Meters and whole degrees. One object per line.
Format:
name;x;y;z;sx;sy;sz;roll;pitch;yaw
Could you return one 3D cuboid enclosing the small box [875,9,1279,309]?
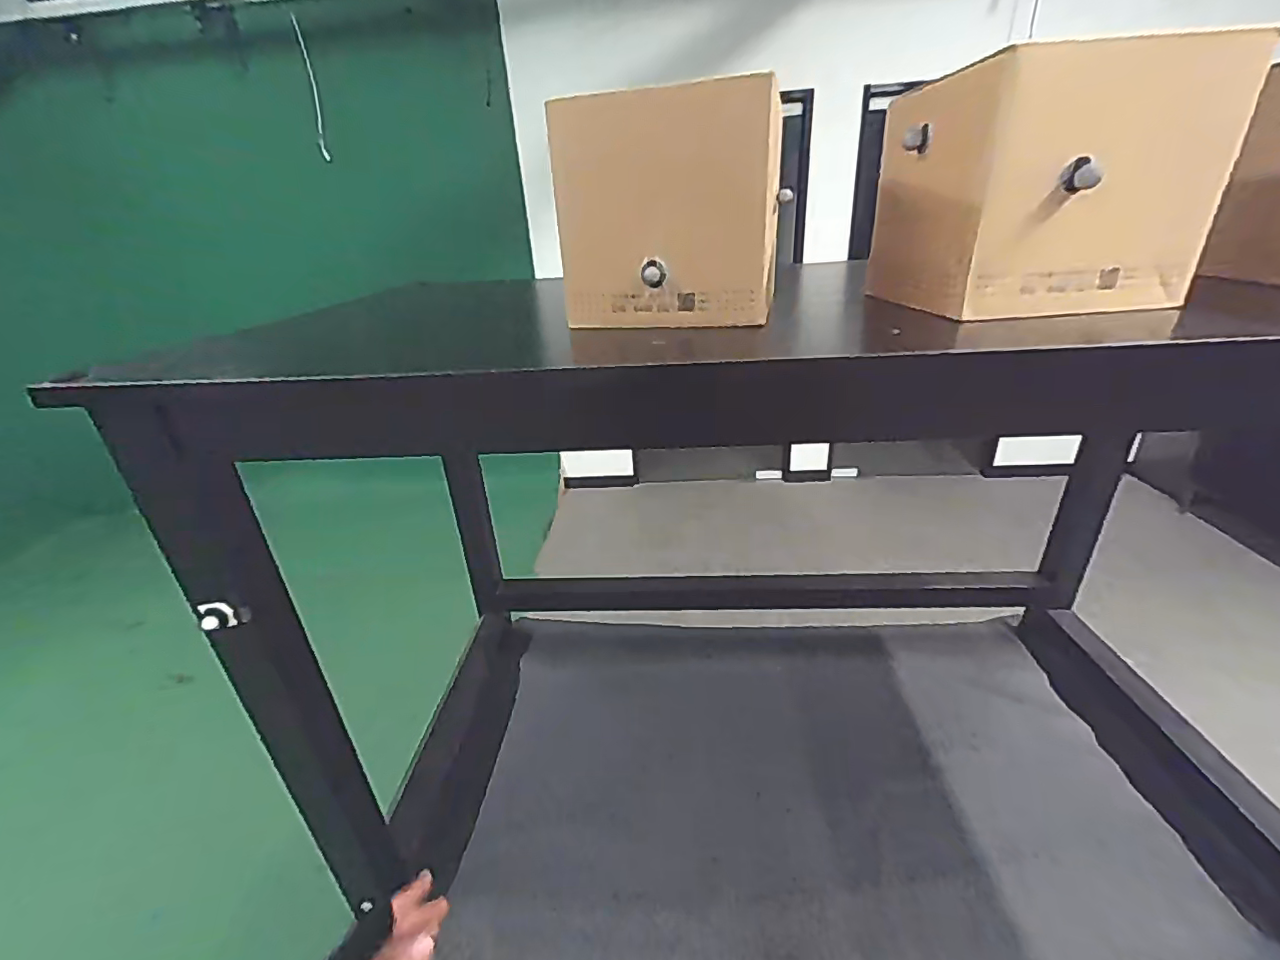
small box;0.308;-0.233;0.430;0.168;0.176;0.179;-4;25;0
